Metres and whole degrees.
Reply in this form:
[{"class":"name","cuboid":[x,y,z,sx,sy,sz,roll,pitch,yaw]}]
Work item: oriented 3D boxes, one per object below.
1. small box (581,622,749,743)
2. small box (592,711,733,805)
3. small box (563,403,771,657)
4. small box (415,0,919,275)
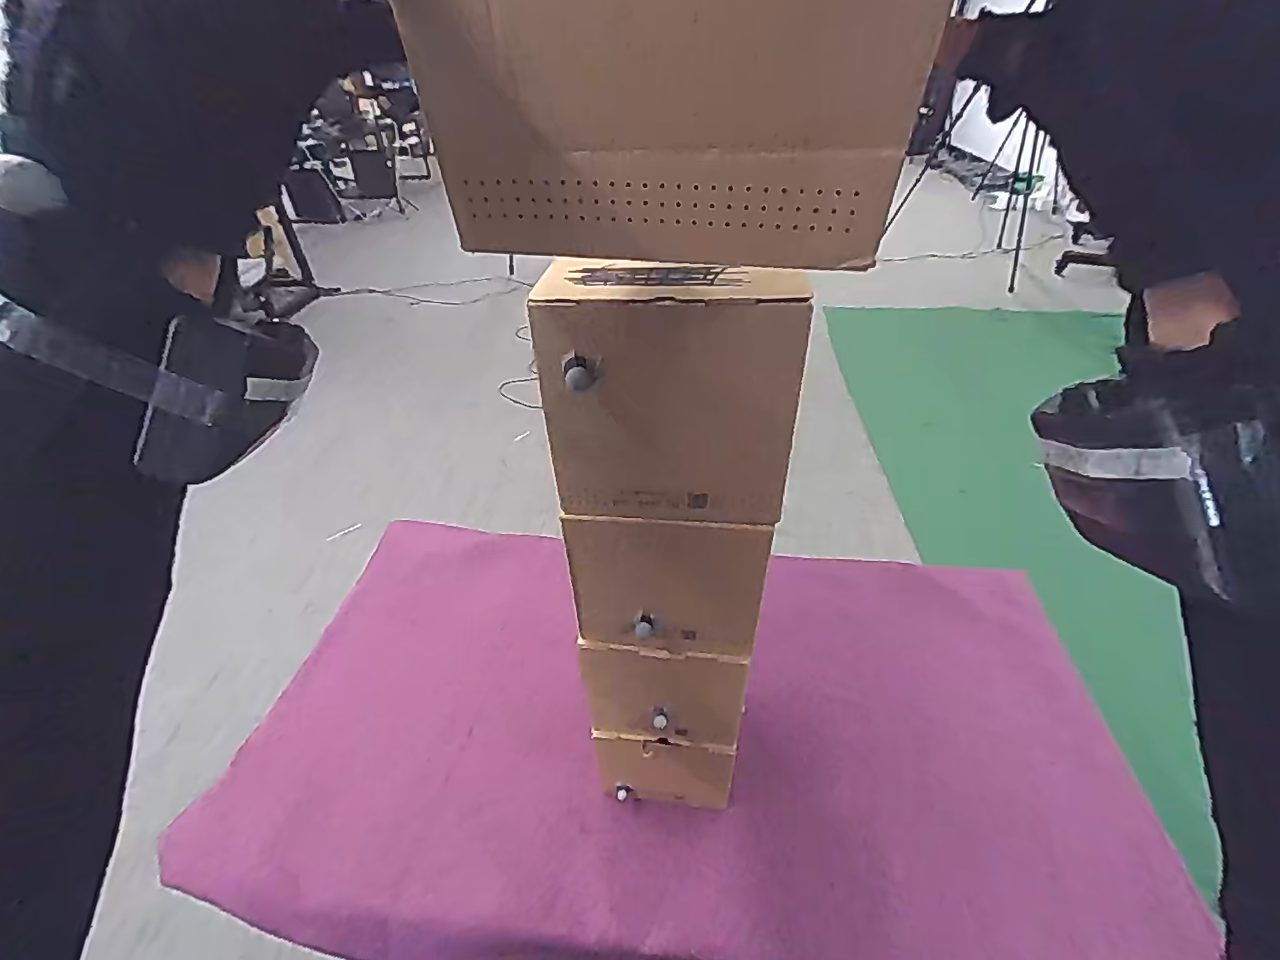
[{"class":"small box","cuboid":[0.035,0.173,0.628,0.168,0.176,0.179,3,40,7]},{"class":"small box","cuboid":[0.040,0.306,0.725,0.168,0.176,0.179,4,39,7]},{"class":"small box","cuboid":[0.032,0.044,0.529,0.168,0.176,0.179,3,39,7]},{"class":"small box","cuboid":[0.015,-0.204,0.229,0.179,0.176,0.168,5,50,6]}]
